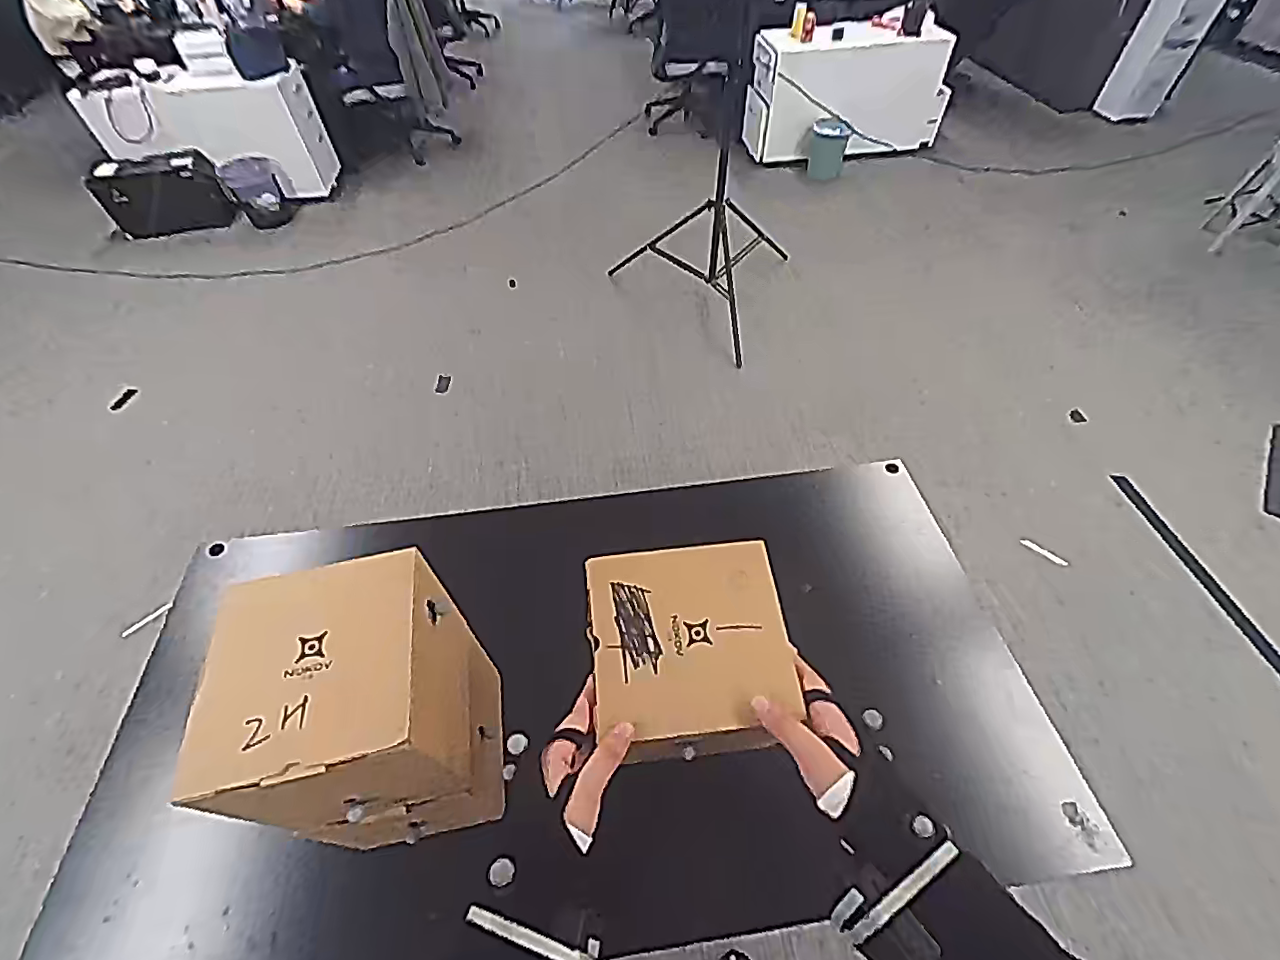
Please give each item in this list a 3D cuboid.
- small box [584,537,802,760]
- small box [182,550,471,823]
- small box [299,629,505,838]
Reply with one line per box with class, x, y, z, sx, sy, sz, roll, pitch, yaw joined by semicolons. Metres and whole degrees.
small box;0.044;0.176;0.547;0.179;0.176;0.168;-6;57;-2
small box;-0.264;0.194;0.508;0.168;0.176;0.179;-12;52;-7
small box;-0.260;0.302;0.634;0.168;0.176;0.179;-10;52;-6
